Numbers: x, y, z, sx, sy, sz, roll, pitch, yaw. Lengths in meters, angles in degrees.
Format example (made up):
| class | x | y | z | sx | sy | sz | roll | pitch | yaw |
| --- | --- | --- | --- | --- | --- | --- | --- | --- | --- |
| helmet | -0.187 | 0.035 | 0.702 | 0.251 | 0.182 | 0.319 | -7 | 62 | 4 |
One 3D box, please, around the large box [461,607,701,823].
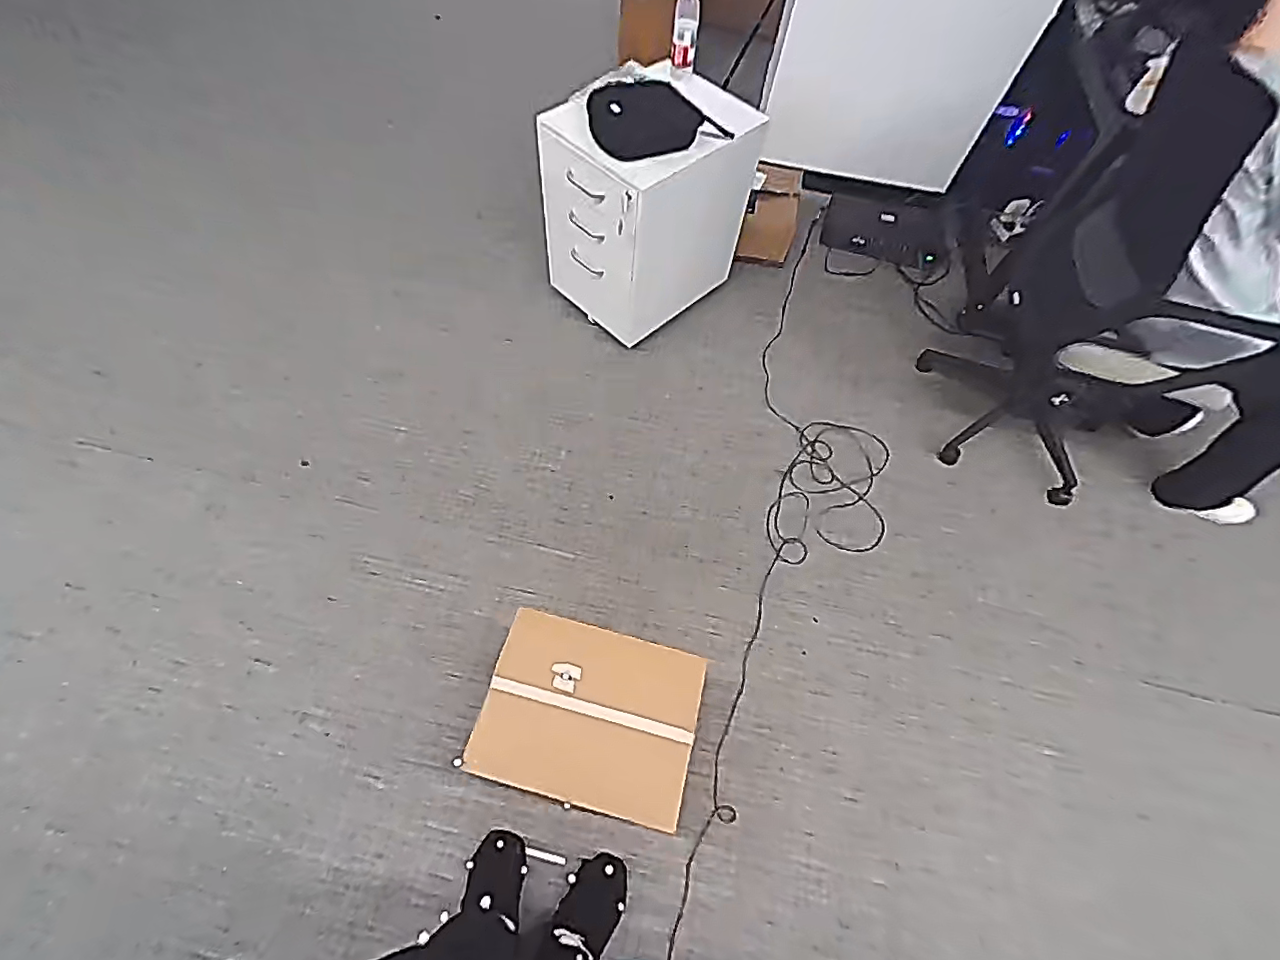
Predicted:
| class | x | y | z | sx | sy | sz | roll | pitch | yaw |
| --- | --- | --- | --- | --- | --- | --- | --- | --- | --- |
| large box | -0.108 | 0.508 | 1.176 | 0.408 | 0.320 | 0.320 | 15 | 61 | 4 |
